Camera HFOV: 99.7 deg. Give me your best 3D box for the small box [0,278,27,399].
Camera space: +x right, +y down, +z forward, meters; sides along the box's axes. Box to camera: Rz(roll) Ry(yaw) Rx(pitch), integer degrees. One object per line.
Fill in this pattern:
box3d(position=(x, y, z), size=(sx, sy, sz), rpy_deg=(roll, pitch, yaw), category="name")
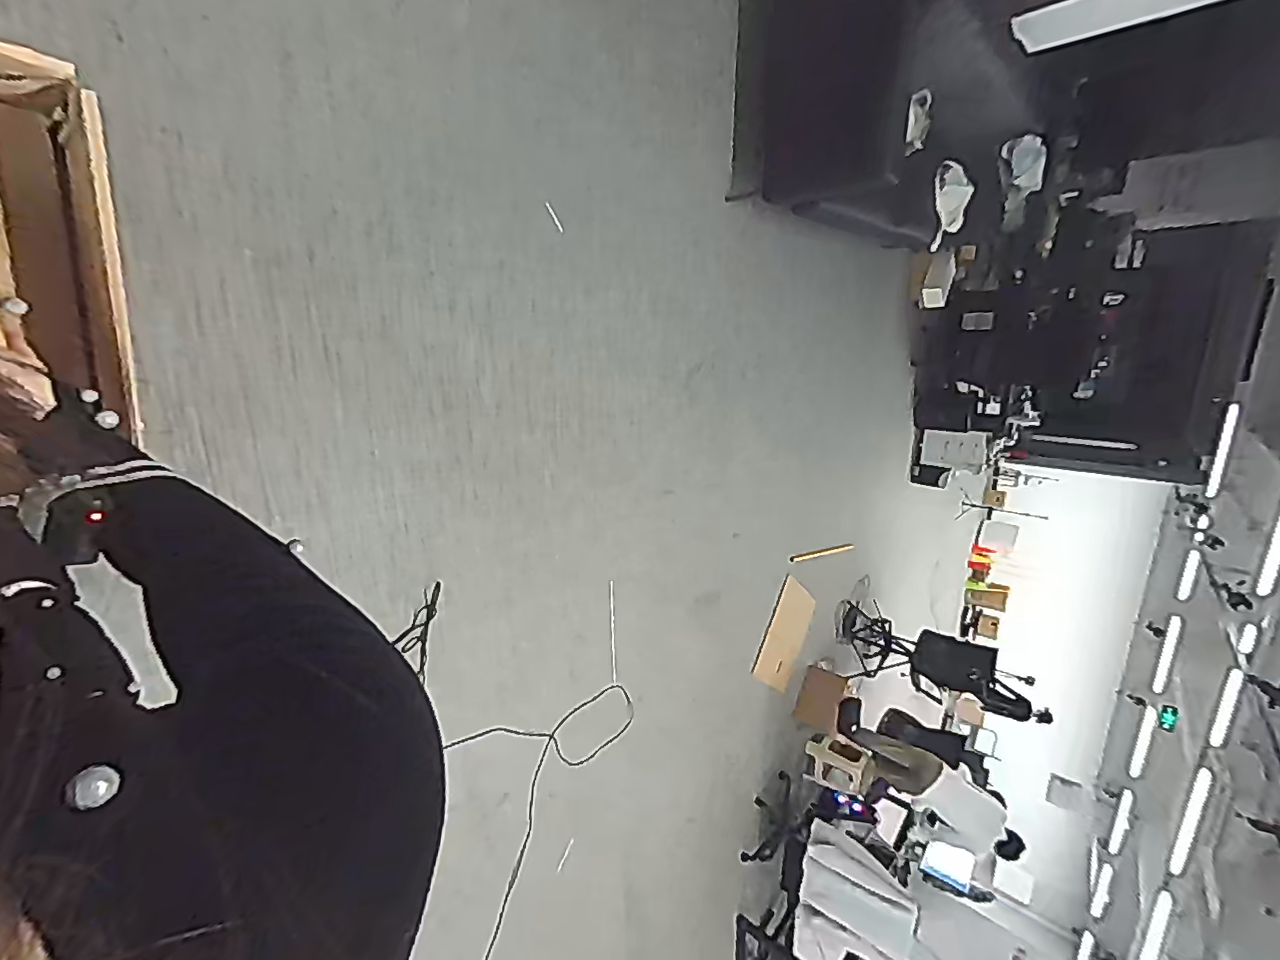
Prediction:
box3d(position=(-0.656, -0.156, 0.451), size=(0.168, 0.176, 0.179), rpy_deg=(-15, 105, -46), category="small box")
